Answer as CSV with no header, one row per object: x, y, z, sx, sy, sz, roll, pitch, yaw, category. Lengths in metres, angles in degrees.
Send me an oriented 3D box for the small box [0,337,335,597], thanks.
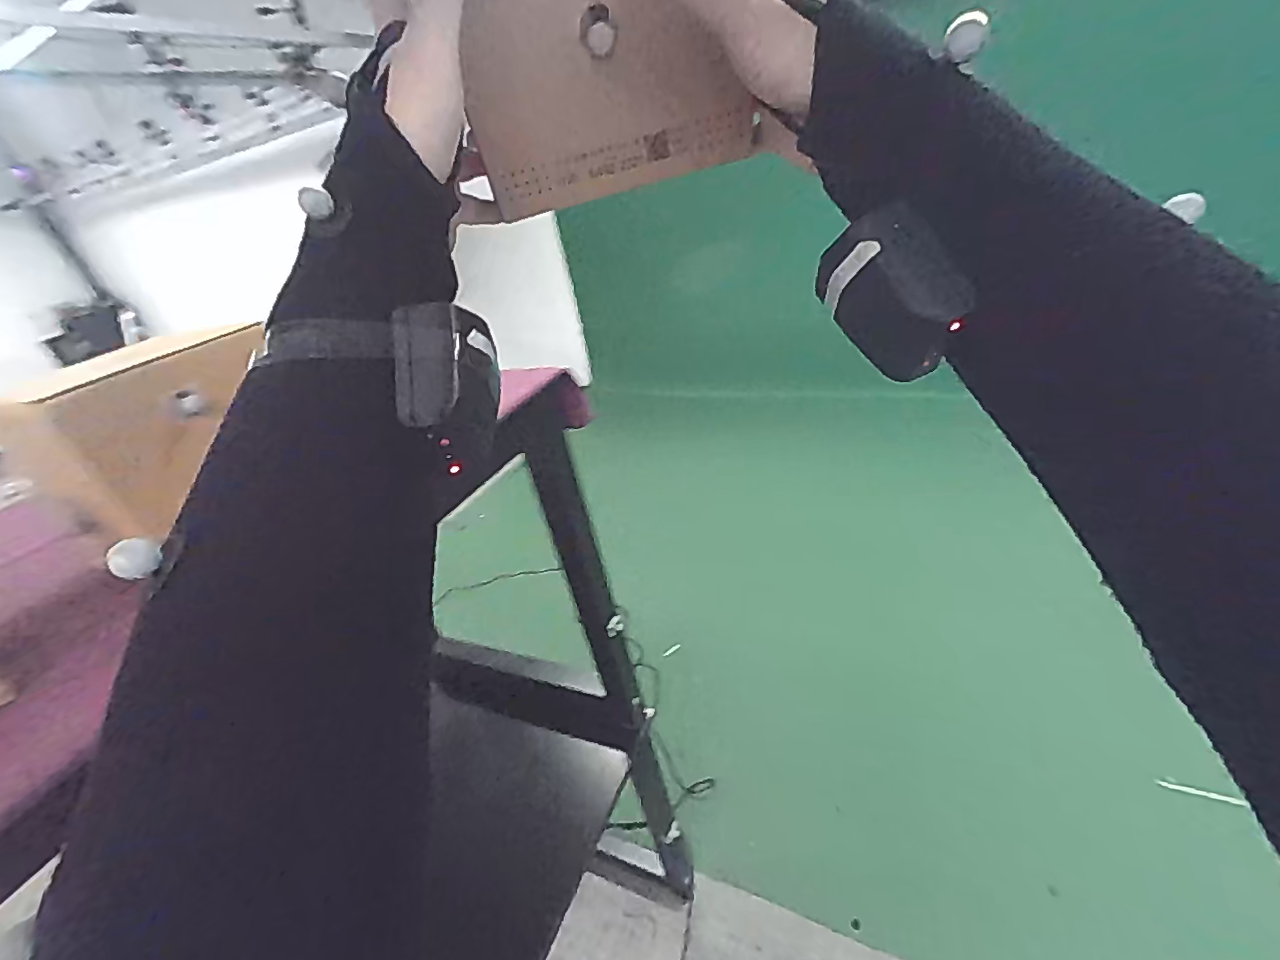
-0.424,-0.021,0.506,0.168,0.176,0.179,3,35,27,small box
